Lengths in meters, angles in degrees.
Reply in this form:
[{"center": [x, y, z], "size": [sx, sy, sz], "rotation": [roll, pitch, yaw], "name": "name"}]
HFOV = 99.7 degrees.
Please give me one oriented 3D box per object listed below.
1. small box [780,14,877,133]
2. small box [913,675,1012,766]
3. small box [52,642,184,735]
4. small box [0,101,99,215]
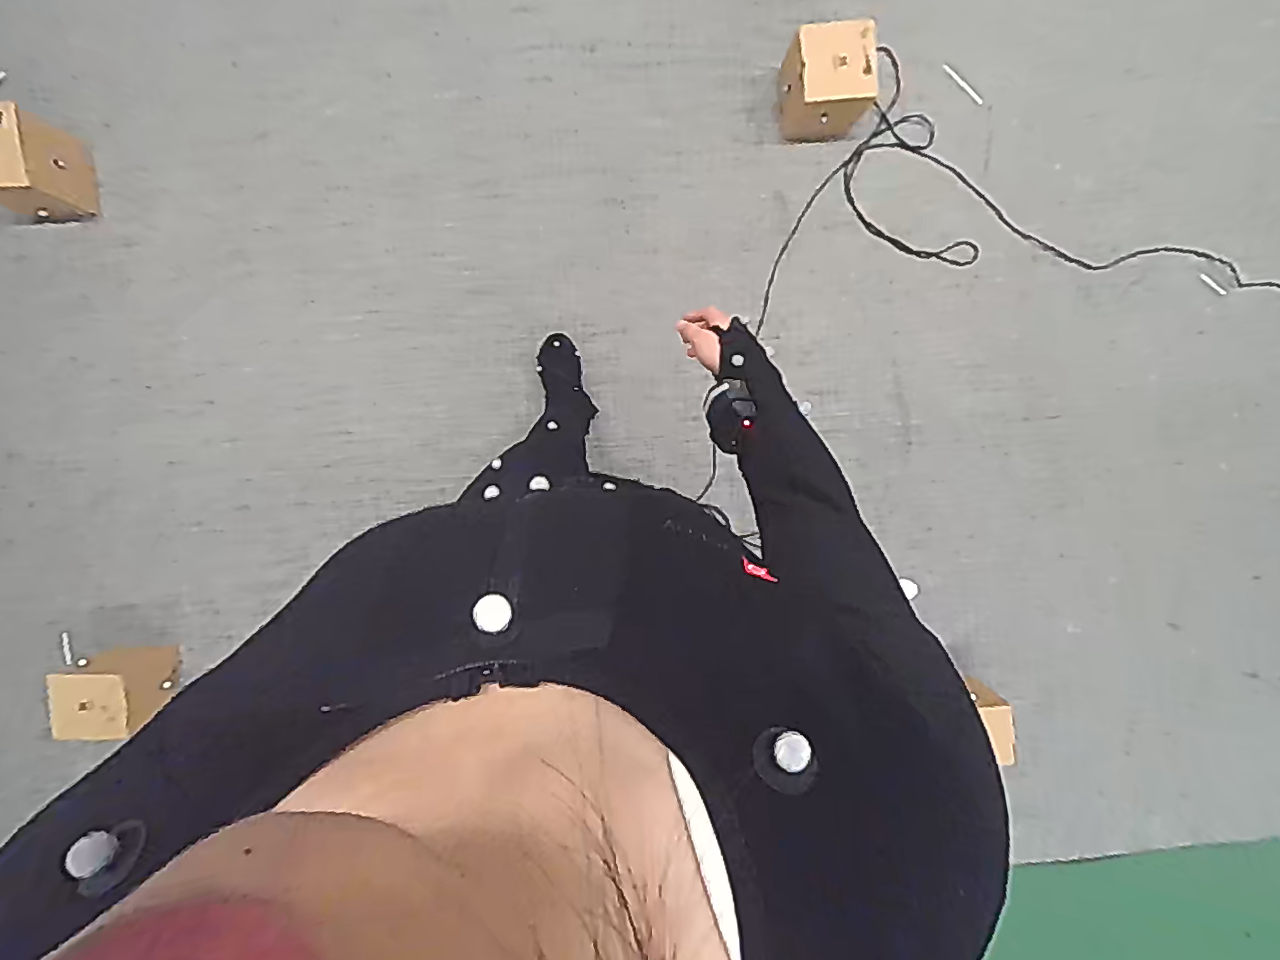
[{"center": [0.443, -0.963, 1.297], "size": [0.179, 0.176, 0.168], "rotation": [-7, 97, -1], "name": "small box"}, {"center": [0.881, 0.651, 1.485], "size": [0.179, 0.176, 0.168], "rotation": [-5, 95, 0], "name": "small box"}, {"center": [-1.322, 0.525, 1.379], "size": [0.179, 0.176, 0.168], "rotation": [1, 96, -3], "name": "small box"}, {"center": [-1.419, -0.736, 1.249], "size": [0.168, 0.176, 0.179], "rotation": [-3, 97, -2], "name": "small box"}]
